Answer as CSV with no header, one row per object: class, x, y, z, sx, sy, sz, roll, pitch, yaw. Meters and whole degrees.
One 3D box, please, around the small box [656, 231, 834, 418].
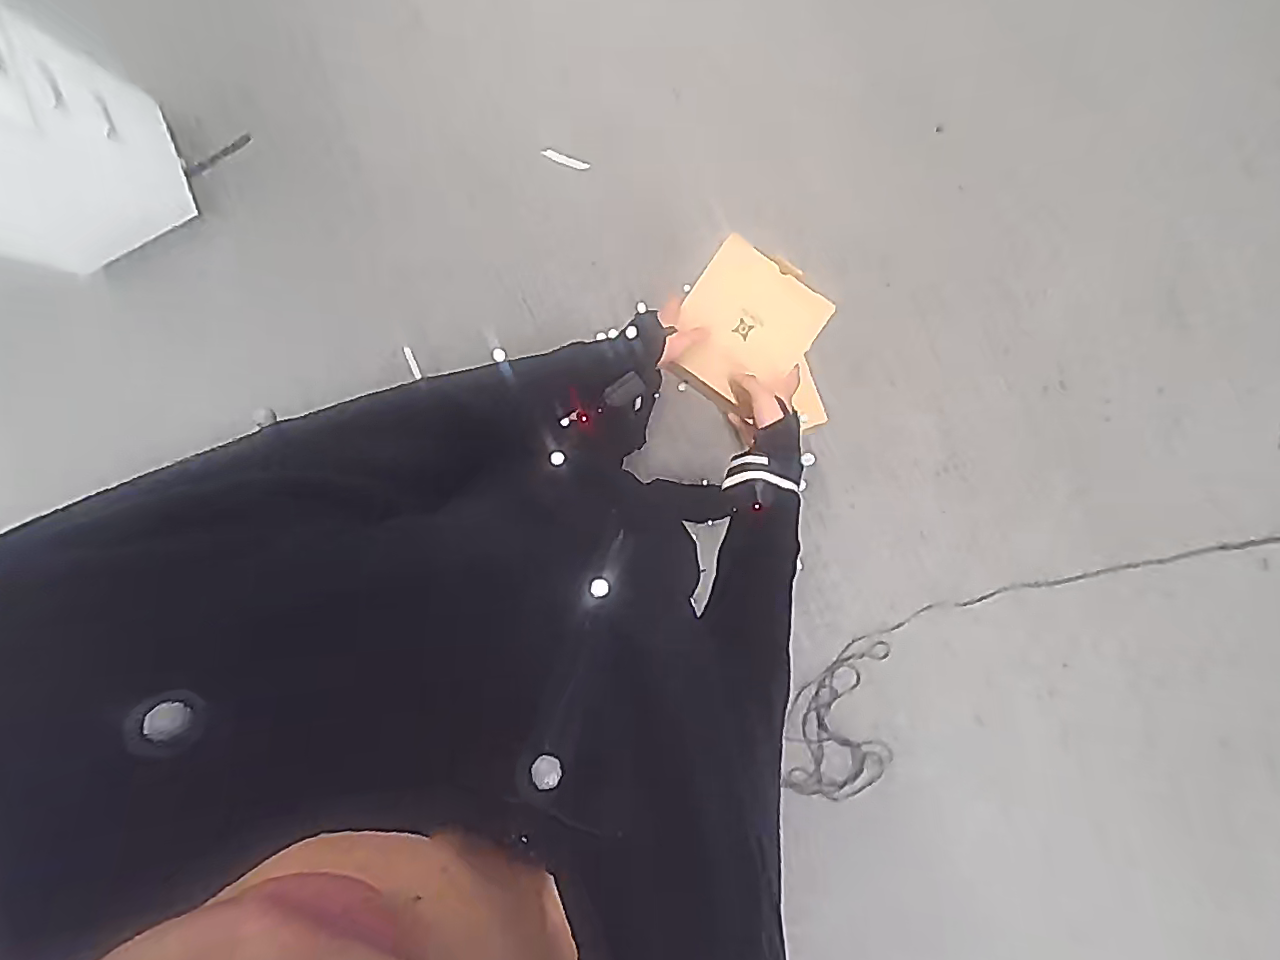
small box,0.132,-0.205,0.763,0.168,0.176,0.179,35,96,-3
